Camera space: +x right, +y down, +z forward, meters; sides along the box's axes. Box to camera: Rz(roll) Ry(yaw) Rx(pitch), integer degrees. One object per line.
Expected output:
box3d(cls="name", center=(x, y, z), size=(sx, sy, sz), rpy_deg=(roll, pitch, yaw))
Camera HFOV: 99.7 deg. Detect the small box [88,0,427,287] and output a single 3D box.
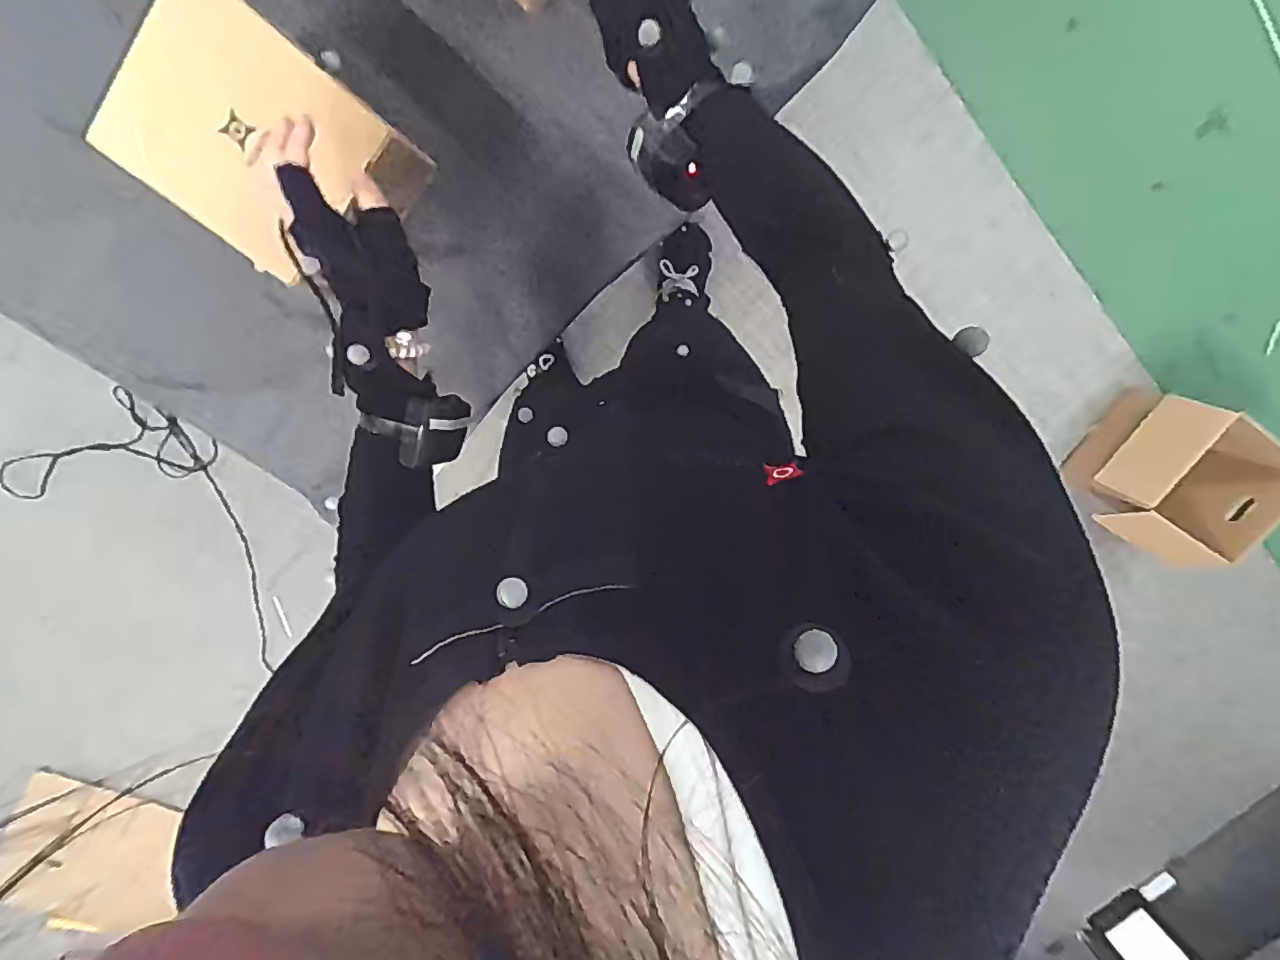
box3d(cls="small box", center=(-0.339, -0.307, 0.521), size=(0.179, 0.176, 0.168), rpy_deg=(37, 102, -19))
